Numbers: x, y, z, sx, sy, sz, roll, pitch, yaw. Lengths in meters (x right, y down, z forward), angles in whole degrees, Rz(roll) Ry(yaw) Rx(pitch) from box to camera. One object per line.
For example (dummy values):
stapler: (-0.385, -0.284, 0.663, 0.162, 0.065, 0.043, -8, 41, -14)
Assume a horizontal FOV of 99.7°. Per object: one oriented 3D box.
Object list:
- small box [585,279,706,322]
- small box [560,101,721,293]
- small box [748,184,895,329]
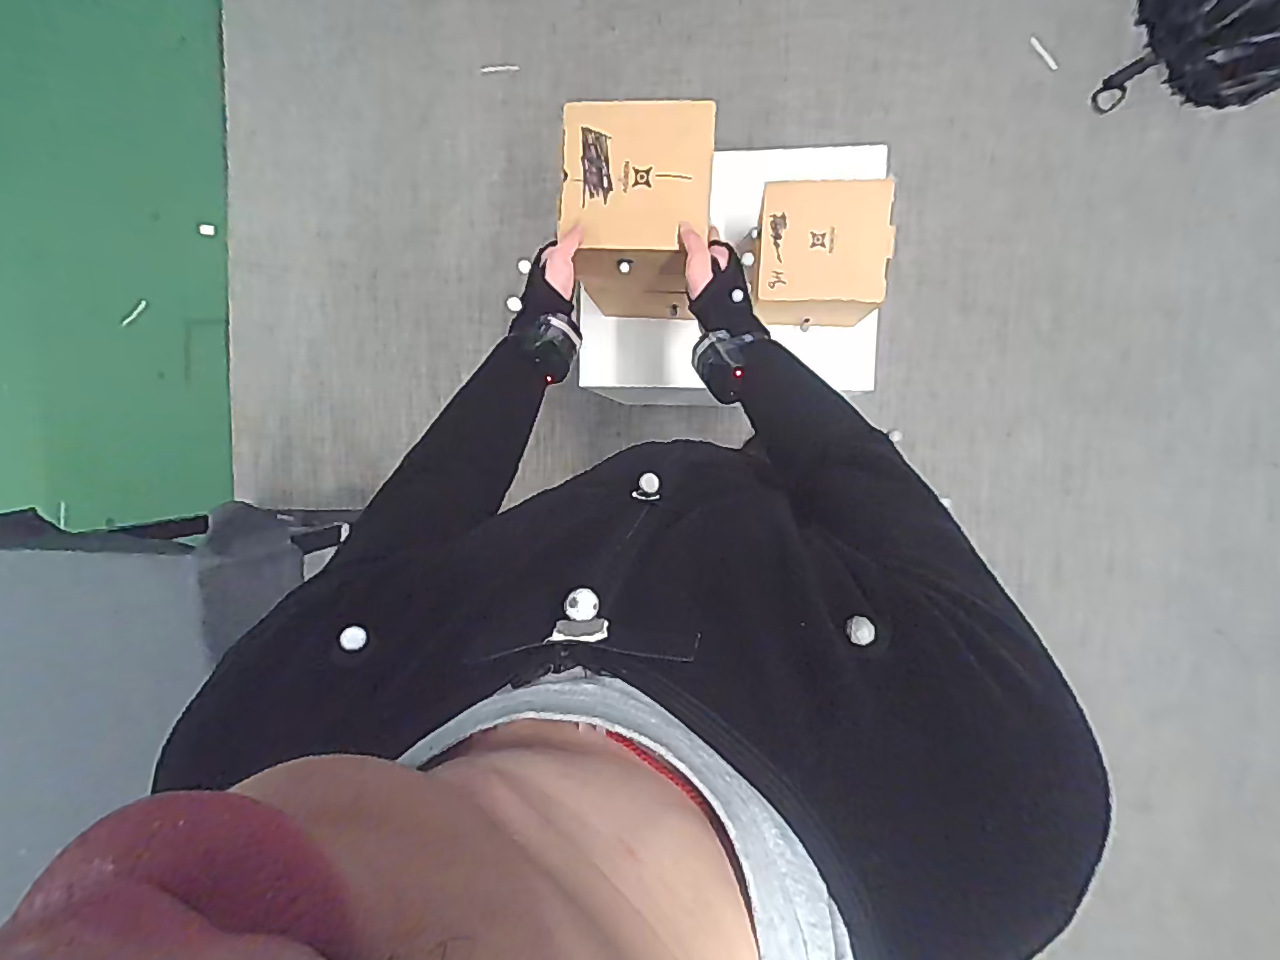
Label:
small box: (0.017, -0.352, 0.854, 0.179, 0.176, 0.168, 3, 94, 6)
small box: (0.006, -0.345, 0.690, 0.179, 0.176, 0.168, 4, 94, 4)
small box: (0.265, -0.332, 0.828, 0.179, 0.176, 0.168, 4, 95, 7)
